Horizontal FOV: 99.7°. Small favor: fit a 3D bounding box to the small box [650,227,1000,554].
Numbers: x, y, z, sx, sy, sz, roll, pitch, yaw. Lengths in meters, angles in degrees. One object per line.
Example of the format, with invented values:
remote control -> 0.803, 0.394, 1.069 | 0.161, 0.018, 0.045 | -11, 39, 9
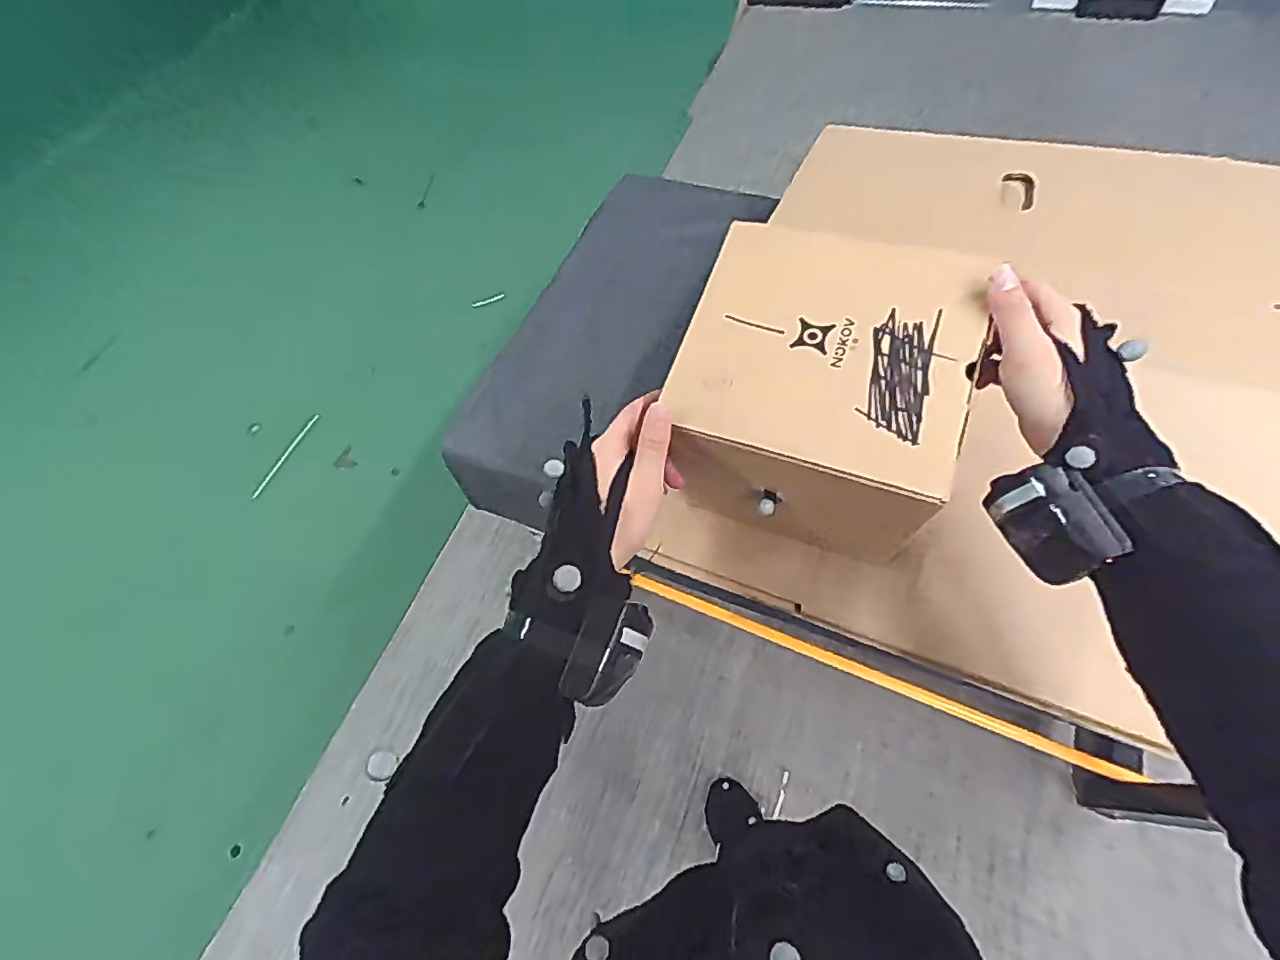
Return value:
small box -> 0.130, -0.055, 0.412 | 0.179, 0.176, 0.168 | 18, 74, 19
